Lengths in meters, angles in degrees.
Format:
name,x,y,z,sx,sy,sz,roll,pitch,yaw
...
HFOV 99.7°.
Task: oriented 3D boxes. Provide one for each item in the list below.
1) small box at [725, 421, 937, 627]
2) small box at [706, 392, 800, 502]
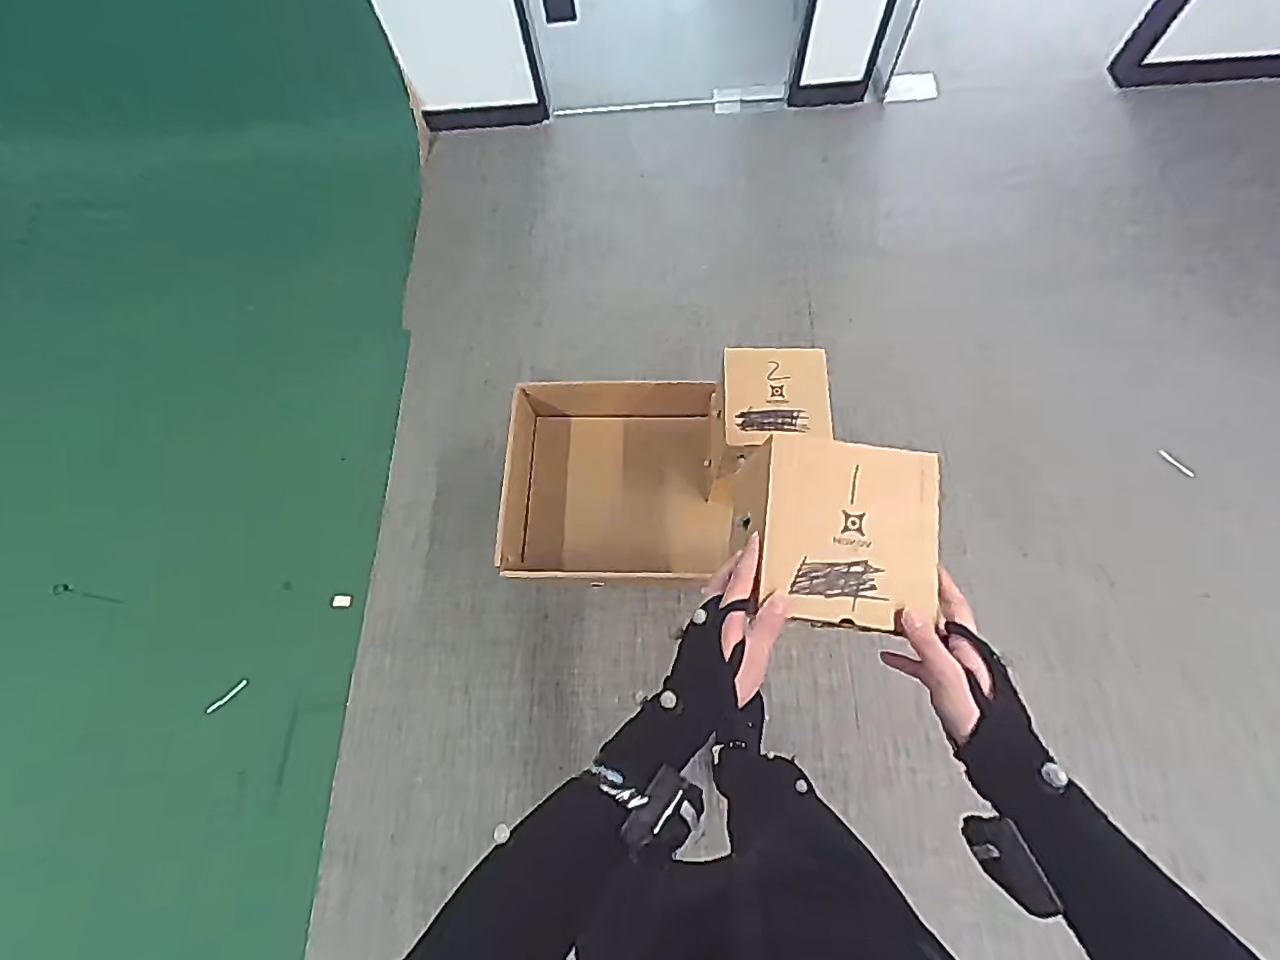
name,x,y,z,sx,sy,sz,roll,pitch,yaw
small box,0.191,0.054,0.582,0.168,0.176,0.179,8,77,-1
small box,0.221,-0.060,1.085,0.168,0.176,0.179,1,72,3
